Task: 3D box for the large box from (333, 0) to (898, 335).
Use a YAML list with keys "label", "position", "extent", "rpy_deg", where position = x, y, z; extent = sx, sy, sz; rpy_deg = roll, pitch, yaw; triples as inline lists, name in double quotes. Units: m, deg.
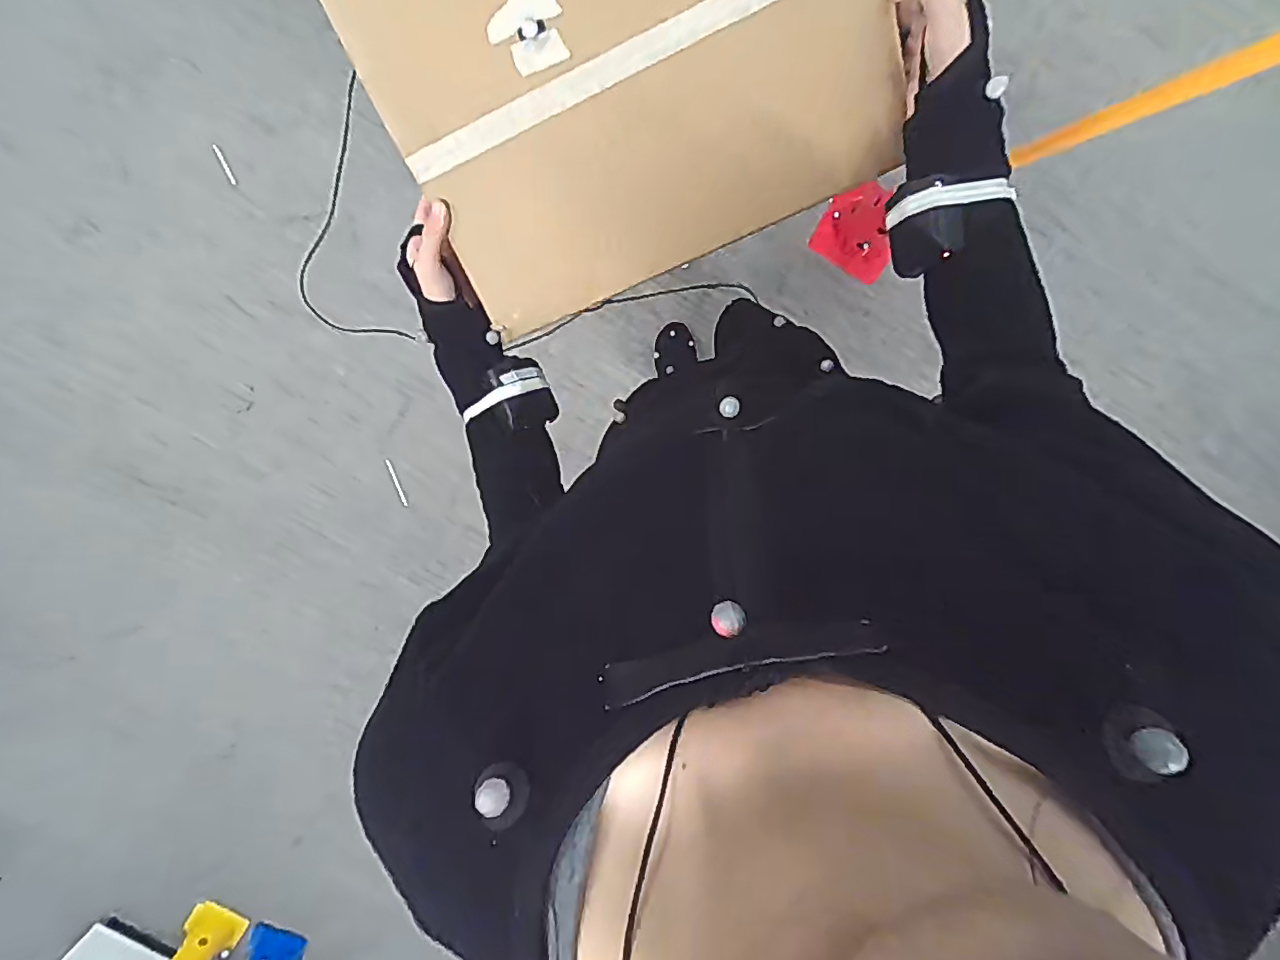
- label: "large box"
  position: [-0.011, -0.406, 0.585]
  extent: [0.408, 0.320, 0.320]
  rpy_deg: [-21, 113, 8]
